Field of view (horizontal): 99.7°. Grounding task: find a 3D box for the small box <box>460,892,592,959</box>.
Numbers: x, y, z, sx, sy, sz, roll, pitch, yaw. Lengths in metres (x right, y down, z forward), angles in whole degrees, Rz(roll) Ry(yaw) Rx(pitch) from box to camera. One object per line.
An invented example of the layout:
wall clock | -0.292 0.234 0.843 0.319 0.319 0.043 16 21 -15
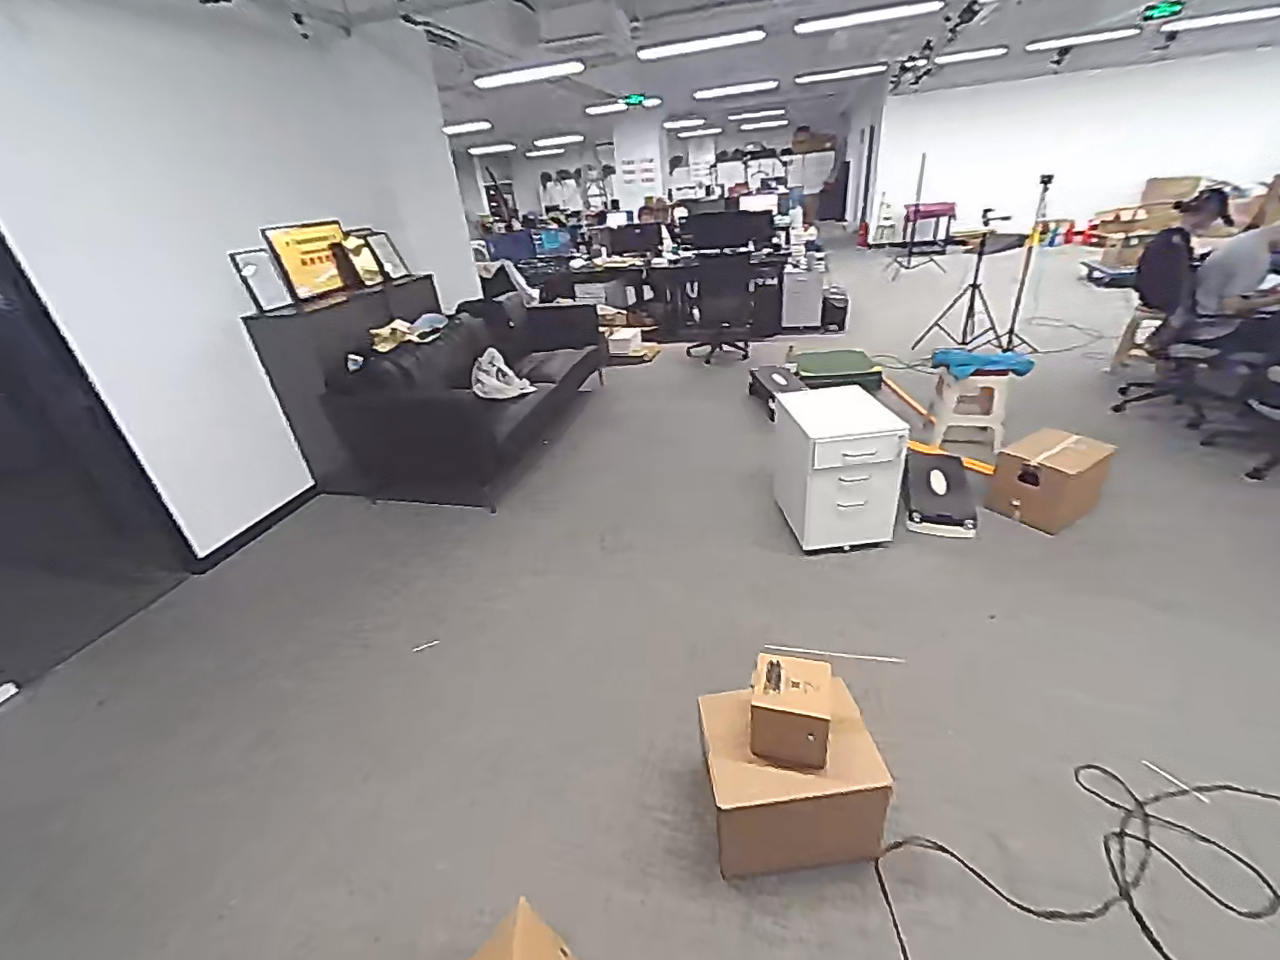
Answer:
small box | -0.109 0.507 0.451 0.168 0.176 0.179 44 69 7
